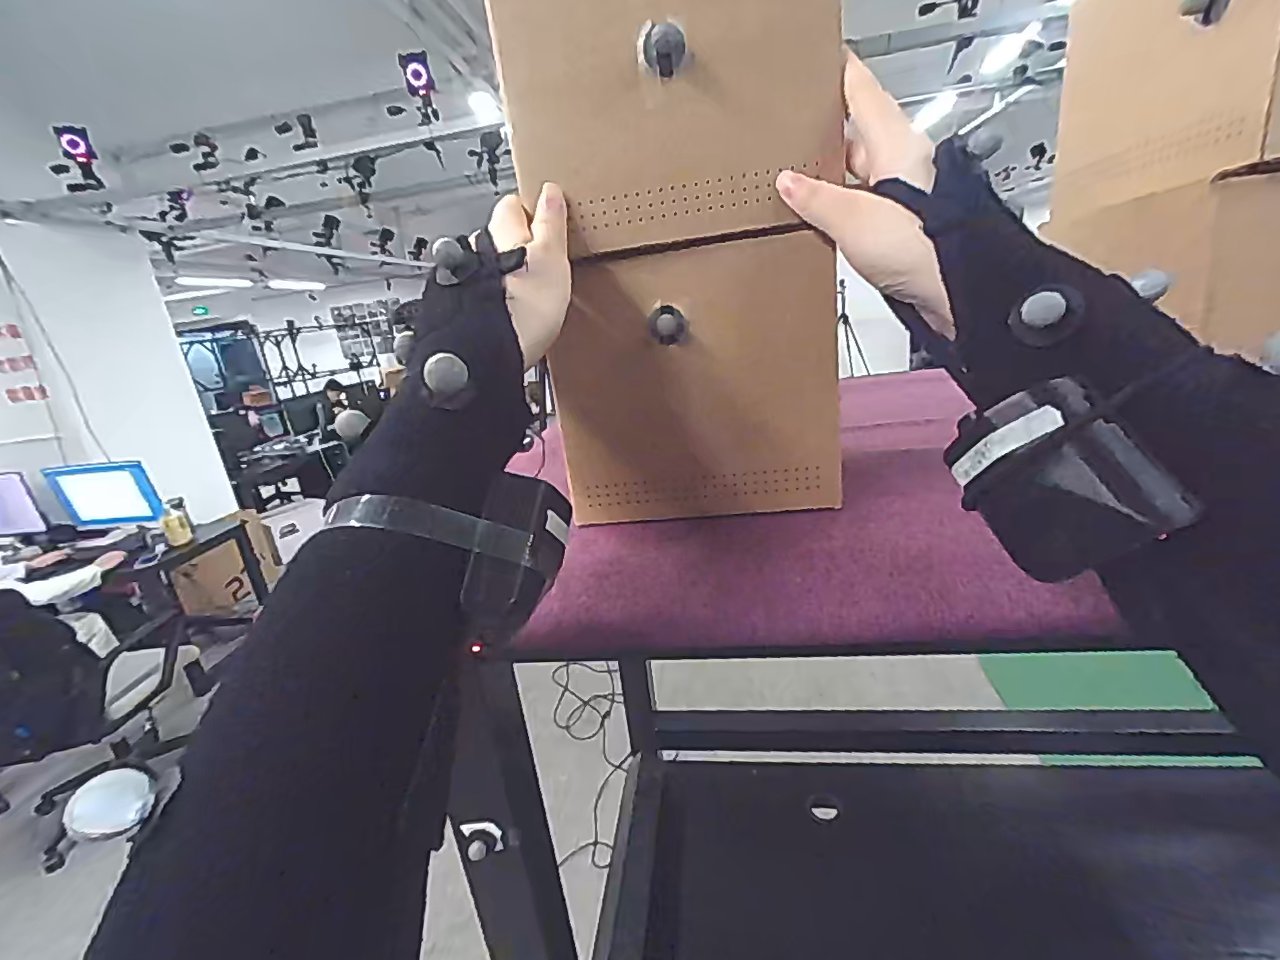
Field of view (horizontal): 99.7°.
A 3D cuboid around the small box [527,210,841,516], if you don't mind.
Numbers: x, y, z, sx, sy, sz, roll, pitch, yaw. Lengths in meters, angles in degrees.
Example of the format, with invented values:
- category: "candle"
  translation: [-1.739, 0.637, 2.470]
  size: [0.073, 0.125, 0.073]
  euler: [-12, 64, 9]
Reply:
- category: "small box"
  translation: [0.039, -0.079, 0.394]
  size: [0.179, 0.176, 0.168]
  euler: [-4, 18, 9]

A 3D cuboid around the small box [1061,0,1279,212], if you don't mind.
- category: "small box"
  translation: [0.385, -0.266, 0.308]
  size: [0.168, 0.176, 0.179]
  euler: [-3, 15, 7]

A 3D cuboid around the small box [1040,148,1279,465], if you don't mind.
- category: "small box"
  translation: [0.399, -0.110, 0.354]
  size: [0.179, 0.176, 0.168]
  euler: [-4, 16, 9]
